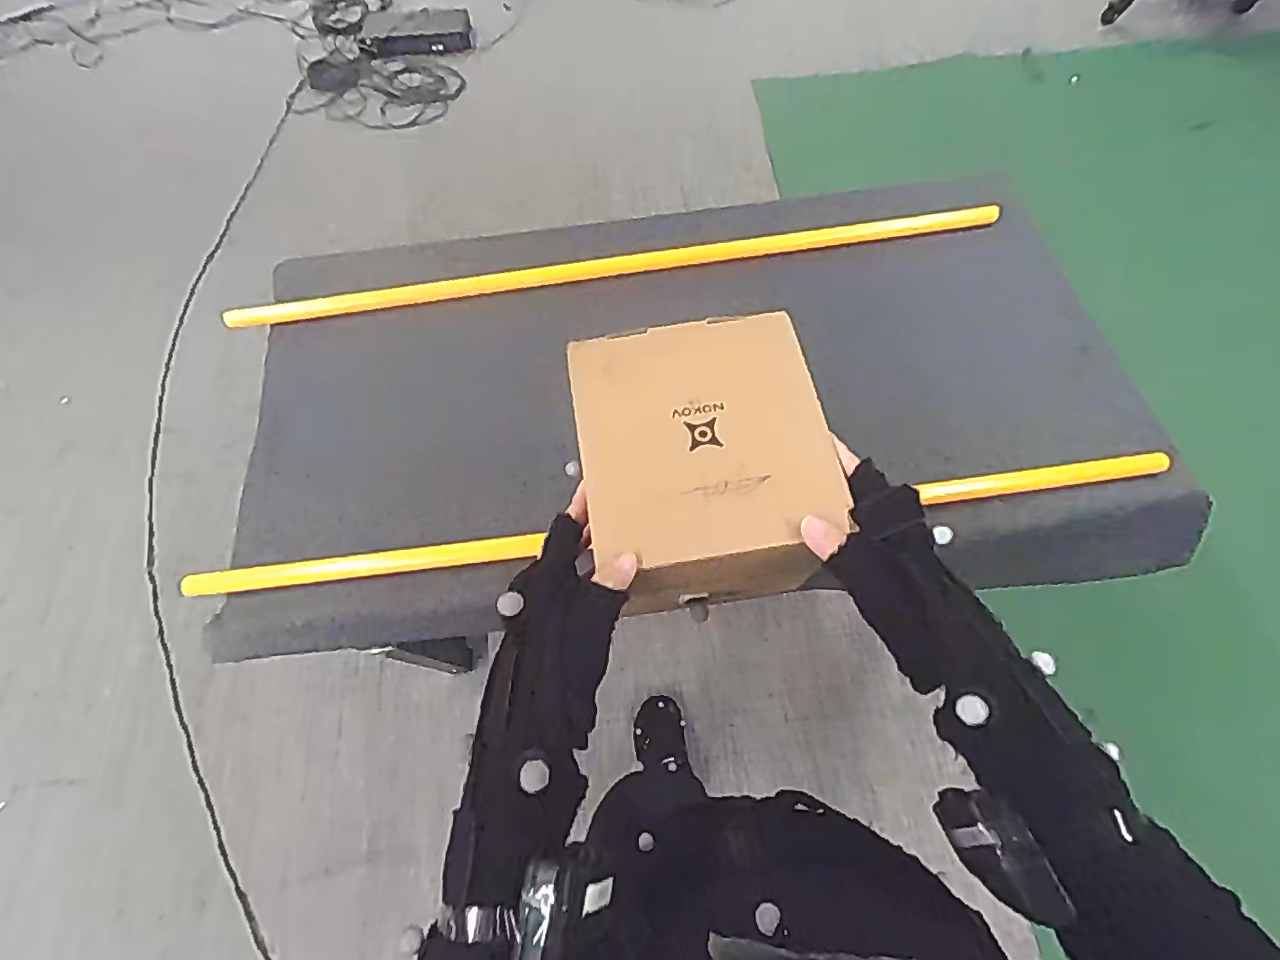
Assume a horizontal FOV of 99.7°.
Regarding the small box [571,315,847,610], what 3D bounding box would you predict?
[{"bbox_3d":[0.041,-0.004,0.445,0.168,0.176,0.179,-9,67,-2],"label":"small box"}]
